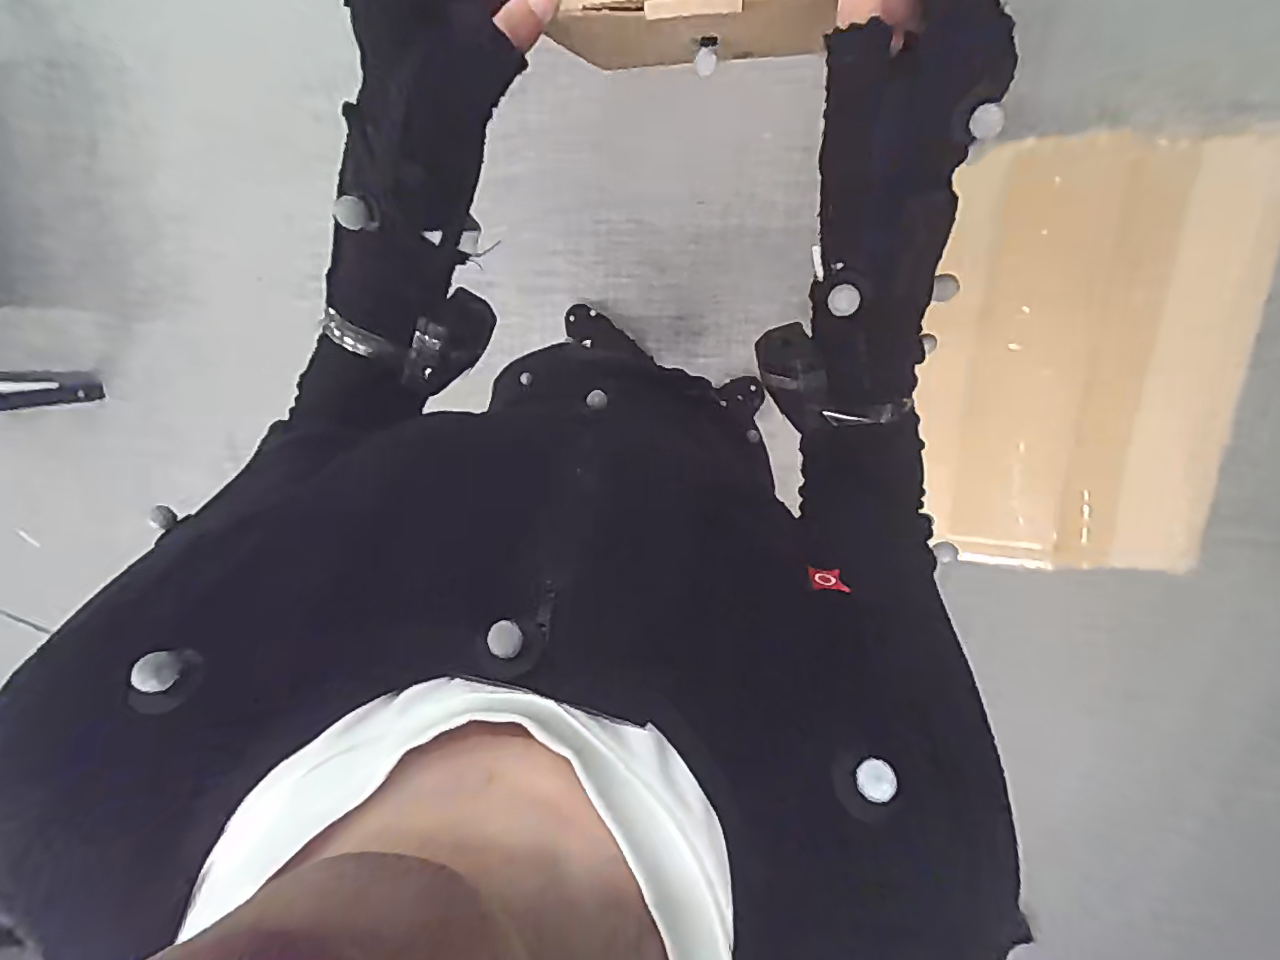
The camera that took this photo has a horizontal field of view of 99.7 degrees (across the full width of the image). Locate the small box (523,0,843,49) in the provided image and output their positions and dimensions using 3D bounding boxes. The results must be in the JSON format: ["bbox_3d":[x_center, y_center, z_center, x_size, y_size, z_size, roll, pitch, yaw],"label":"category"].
[{"bbox_3d":[0.033,-0.337,0.270,0.168,0.176,0.179,2,121,10],"label":"small box"}]
